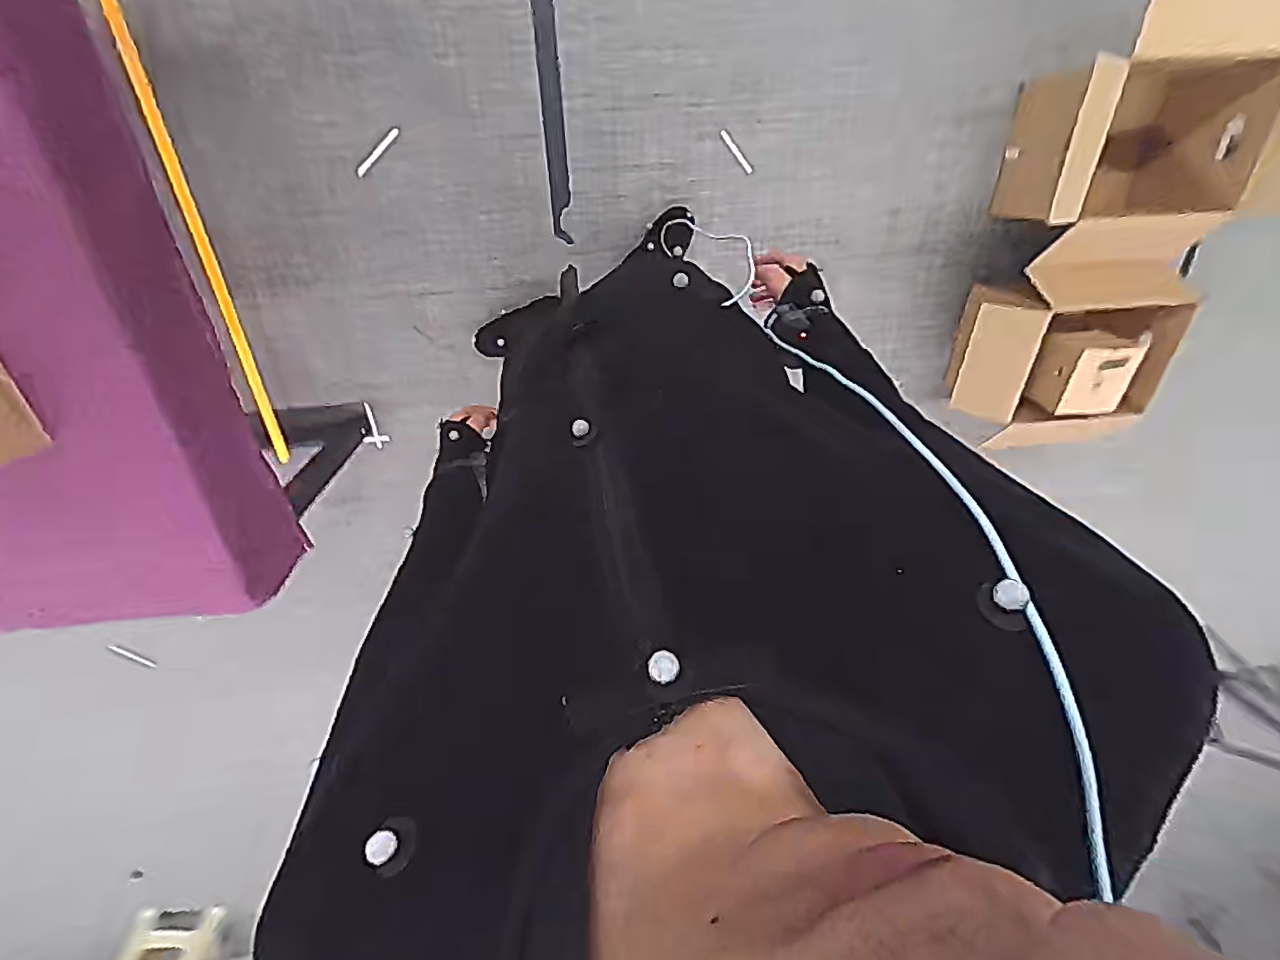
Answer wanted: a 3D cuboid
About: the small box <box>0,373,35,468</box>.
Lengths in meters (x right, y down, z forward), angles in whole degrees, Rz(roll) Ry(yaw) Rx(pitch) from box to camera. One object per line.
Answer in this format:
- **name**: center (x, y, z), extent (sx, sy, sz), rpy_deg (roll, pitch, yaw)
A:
- **small box**: center (-0.927, -0.074, 0.663), extent (0.179, 0.176, 0.168), rpy_deg (-7, 118, -3)
